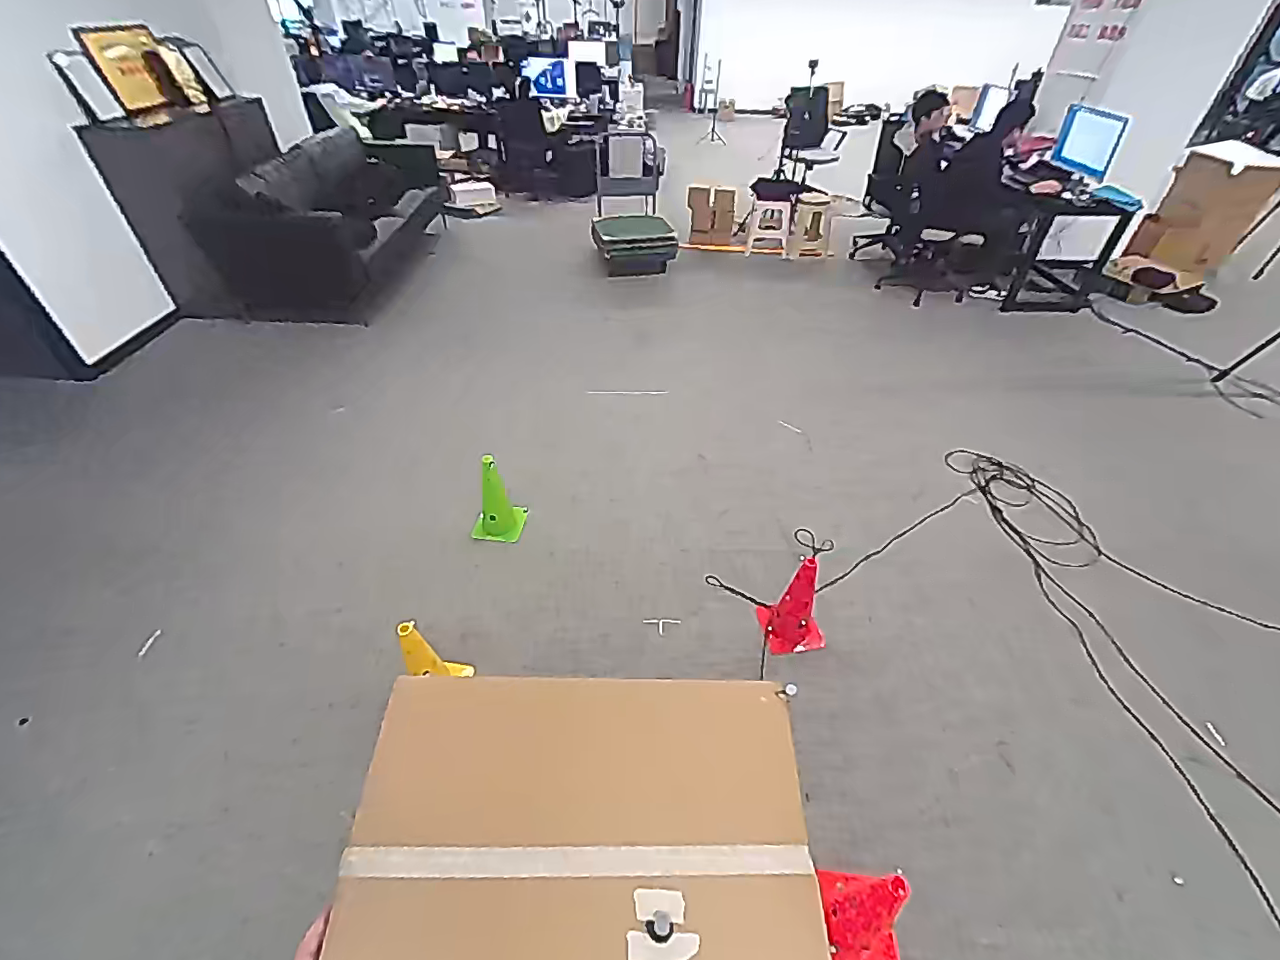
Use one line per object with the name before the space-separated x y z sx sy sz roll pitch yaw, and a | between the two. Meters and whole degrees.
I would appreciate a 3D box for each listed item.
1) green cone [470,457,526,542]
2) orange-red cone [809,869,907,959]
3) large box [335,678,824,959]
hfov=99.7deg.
green cone | -0.595 0.054 2.170 0.200 0.368 0.202 5 43 4
orange-red cone | 0.507 0.942 1.187 0.199 0.360 0.198 7 42 4
large box | -0.056 0.426 0.597 0.408 0.320 0.320 2 52 -3
